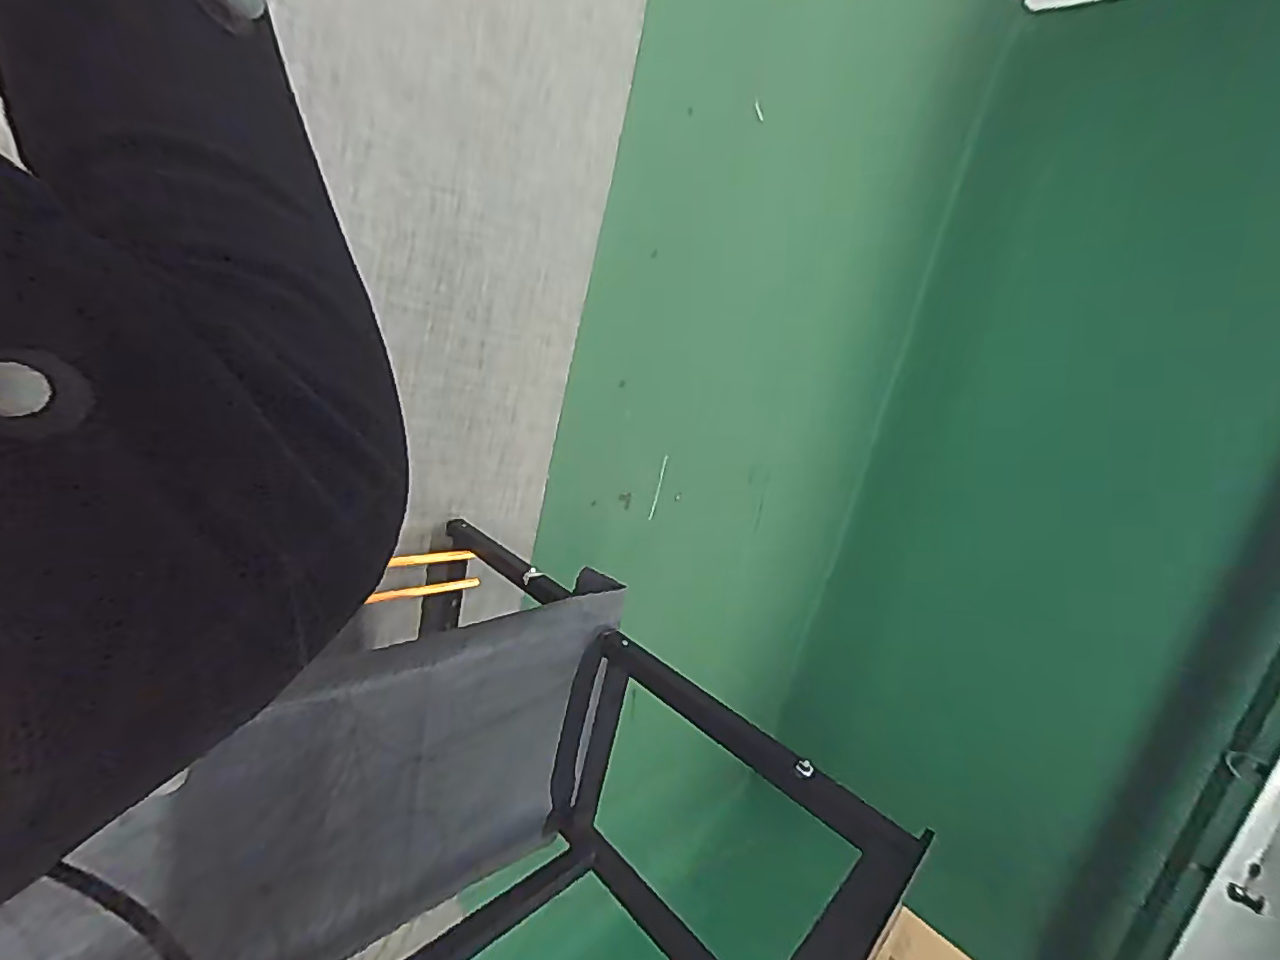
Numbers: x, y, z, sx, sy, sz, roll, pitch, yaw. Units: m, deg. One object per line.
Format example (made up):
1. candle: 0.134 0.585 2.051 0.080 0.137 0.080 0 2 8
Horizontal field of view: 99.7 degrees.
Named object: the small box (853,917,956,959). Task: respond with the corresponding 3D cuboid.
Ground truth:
1. small box: 0.351 0.729 0.708 0.168 0.176 0.179 1 108 -48
